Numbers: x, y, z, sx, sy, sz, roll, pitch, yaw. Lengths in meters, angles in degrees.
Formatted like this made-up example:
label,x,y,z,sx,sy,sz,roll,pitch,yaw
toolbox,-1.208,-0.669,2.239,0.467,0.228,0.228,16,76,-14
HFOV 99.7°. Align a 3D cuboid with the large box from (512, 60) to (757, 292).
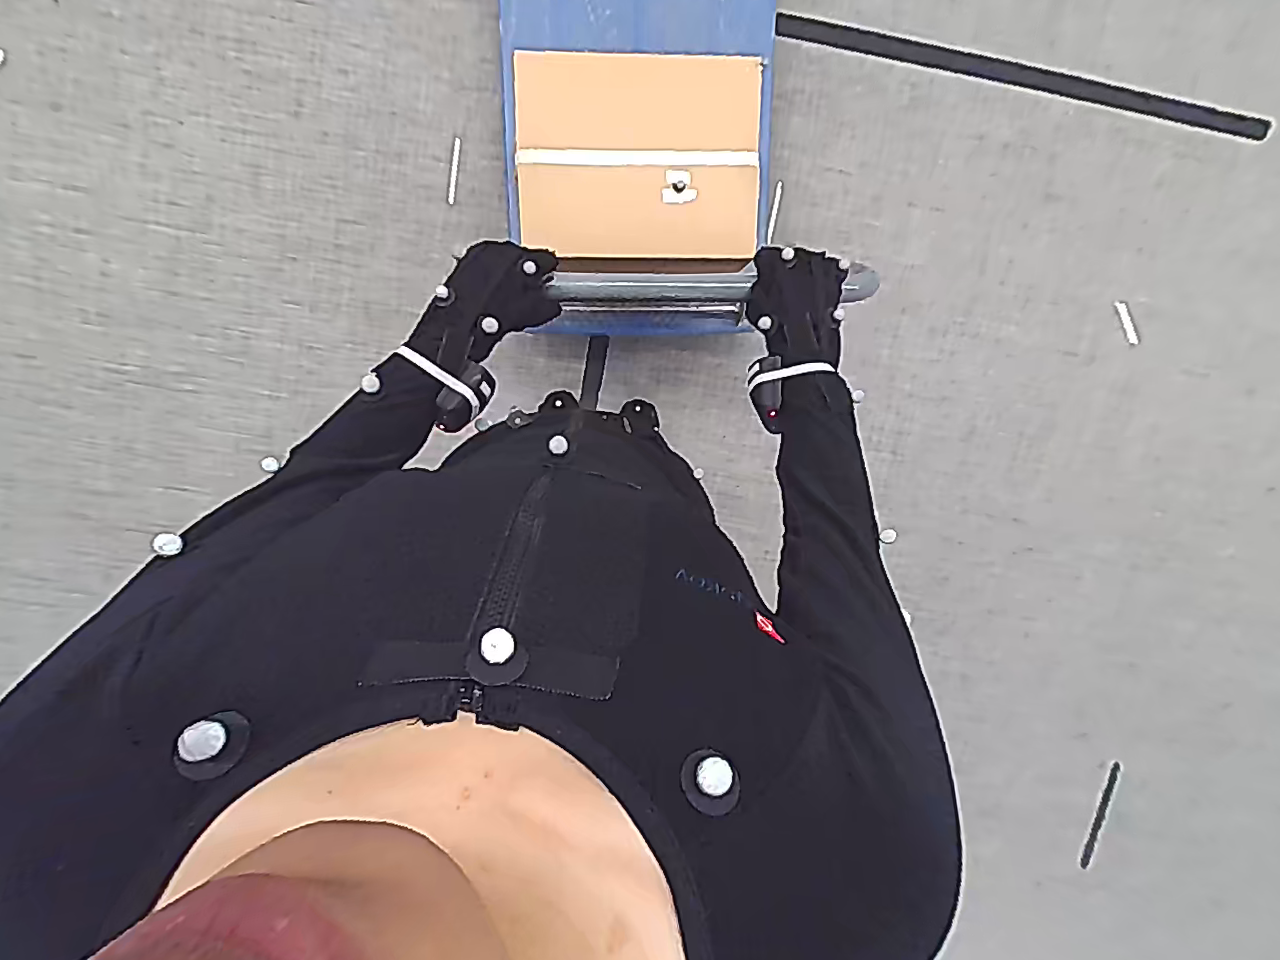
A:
label,x,y,z,sx,sy,sz,roll,pitch,yaw
large box,-0.014,-0.551,1.046,0.408,0.320,0.320,-1,101,-3
